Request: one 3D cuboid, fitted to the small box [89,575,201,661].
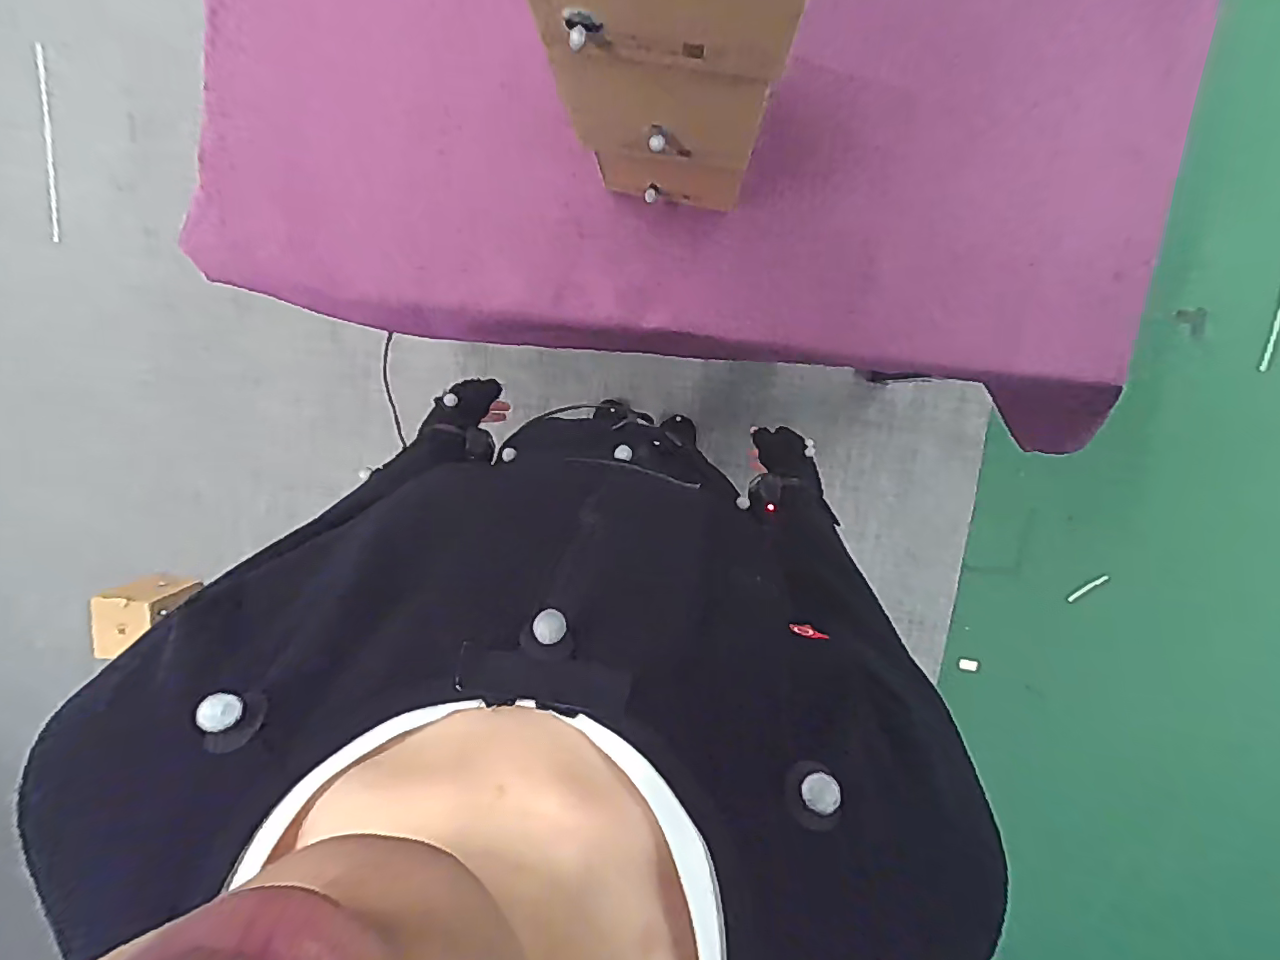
[{"bbox_3d":[-1.376,0.382,1.516,0.168,0.176,0.179,5,98,2],"label":"small box"}]

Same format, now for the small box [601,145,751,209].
[{"bbox_3d":[0.047,-0.430,0.597,0.168,0.176,0.179,11,99,2],"label":"small box"}]

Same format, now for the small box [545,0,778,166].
[{"bbox_3d":[0.032,-0.392,0.437,0.168,0.176,0.179,9,99,3],"label":"small box"}]

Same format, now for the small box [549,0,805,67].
[{"bbox_3d":[0.026,-0.359,0.277,0.168,0.176,0.179,10,98,2],"label":"small box"}]
